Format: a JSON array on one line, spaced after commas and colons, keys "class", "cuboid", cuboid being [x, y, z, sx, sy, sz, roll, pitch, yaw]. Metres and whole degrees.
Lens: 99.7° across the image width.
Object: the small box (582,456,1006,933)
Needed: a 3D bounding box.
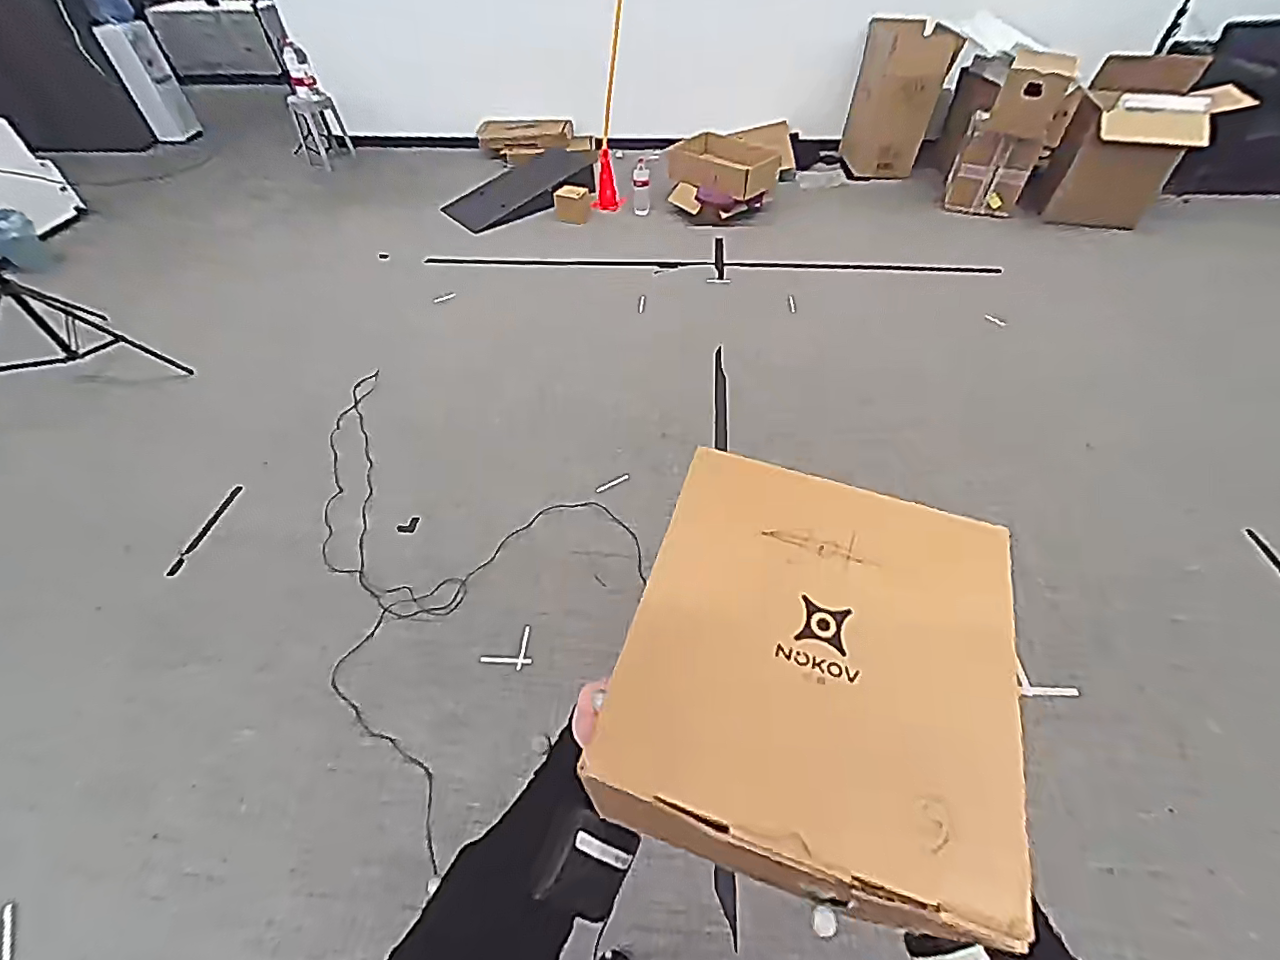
[{"class": "small box", "cuboid": [0.079, 0.120, 0.317, 0.168, 0.176, 0.179, 17, 54, 10]}]
